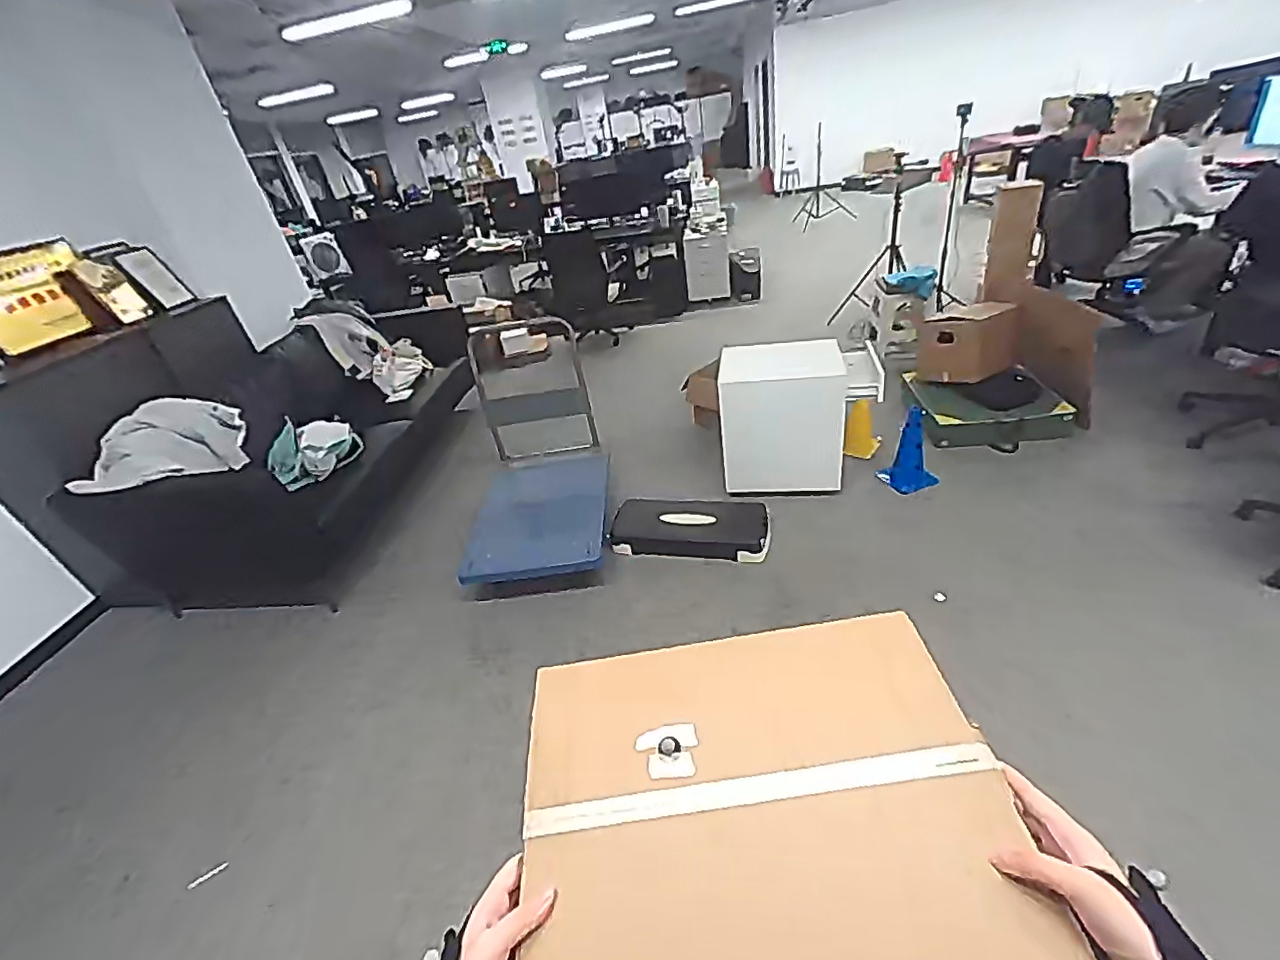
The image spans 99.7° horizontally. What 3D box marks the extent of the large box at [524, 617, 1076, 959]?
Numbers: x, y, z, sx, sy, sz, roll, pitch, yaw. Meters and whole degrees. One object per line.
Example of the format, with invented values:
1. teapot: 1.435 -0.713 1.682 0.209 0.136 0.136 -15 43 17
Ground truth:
1. large box: 0.125 0.395 0.577 0.408 0.320 0.320 -12 38 4
